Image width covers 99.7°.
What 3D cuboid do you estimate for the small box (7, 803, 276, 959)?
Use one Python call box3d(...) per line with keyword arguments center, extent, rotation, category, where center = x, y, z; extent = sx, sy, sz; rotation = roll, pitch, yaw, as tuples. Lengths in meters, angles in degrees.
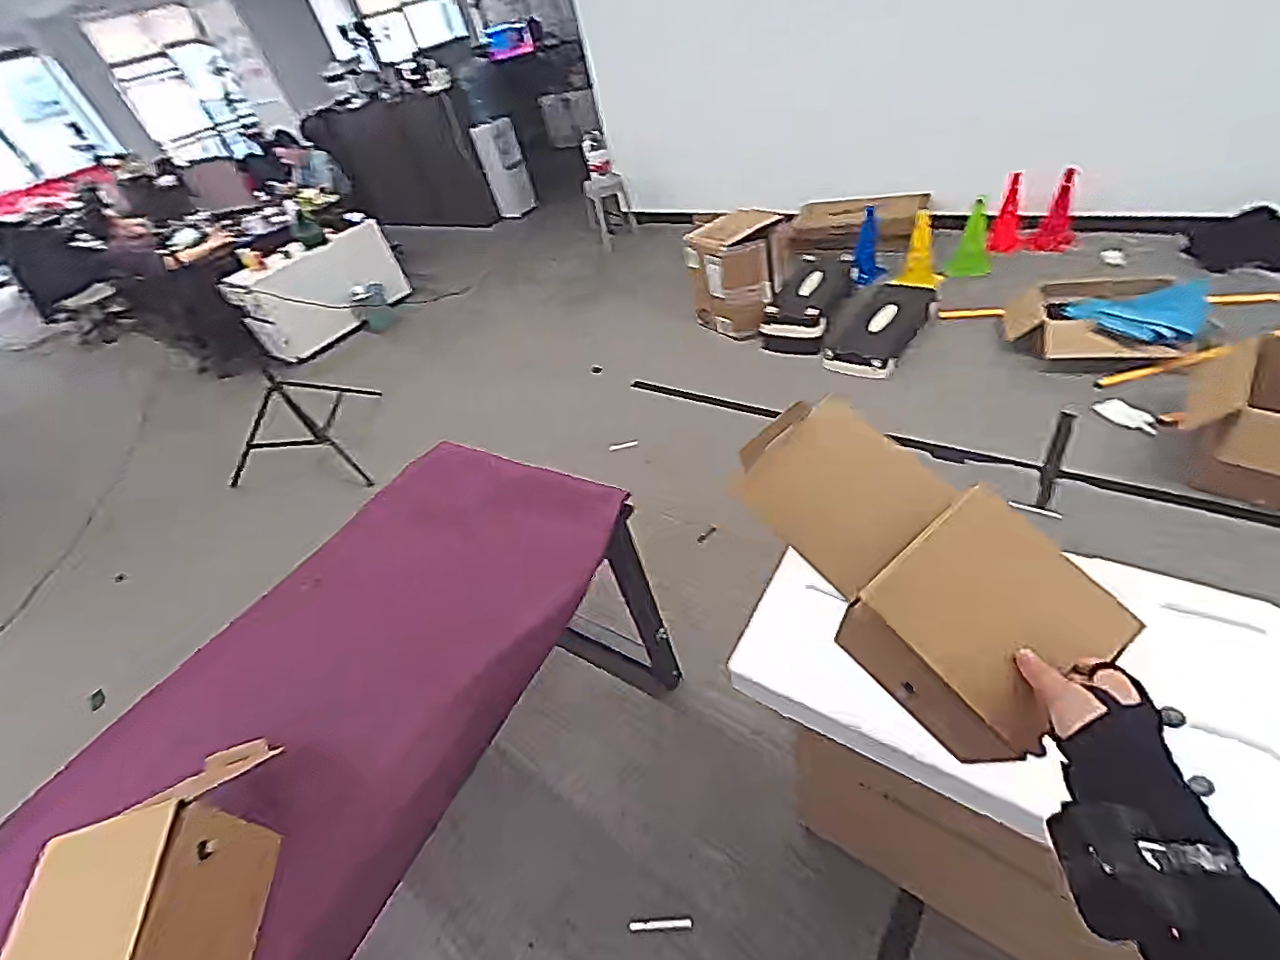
box3d(center=(-0.588, 0.533, 0.654), extent=(0.168, 0.176, 0.179), rotation=(-19, 41, 0), category="small box")
